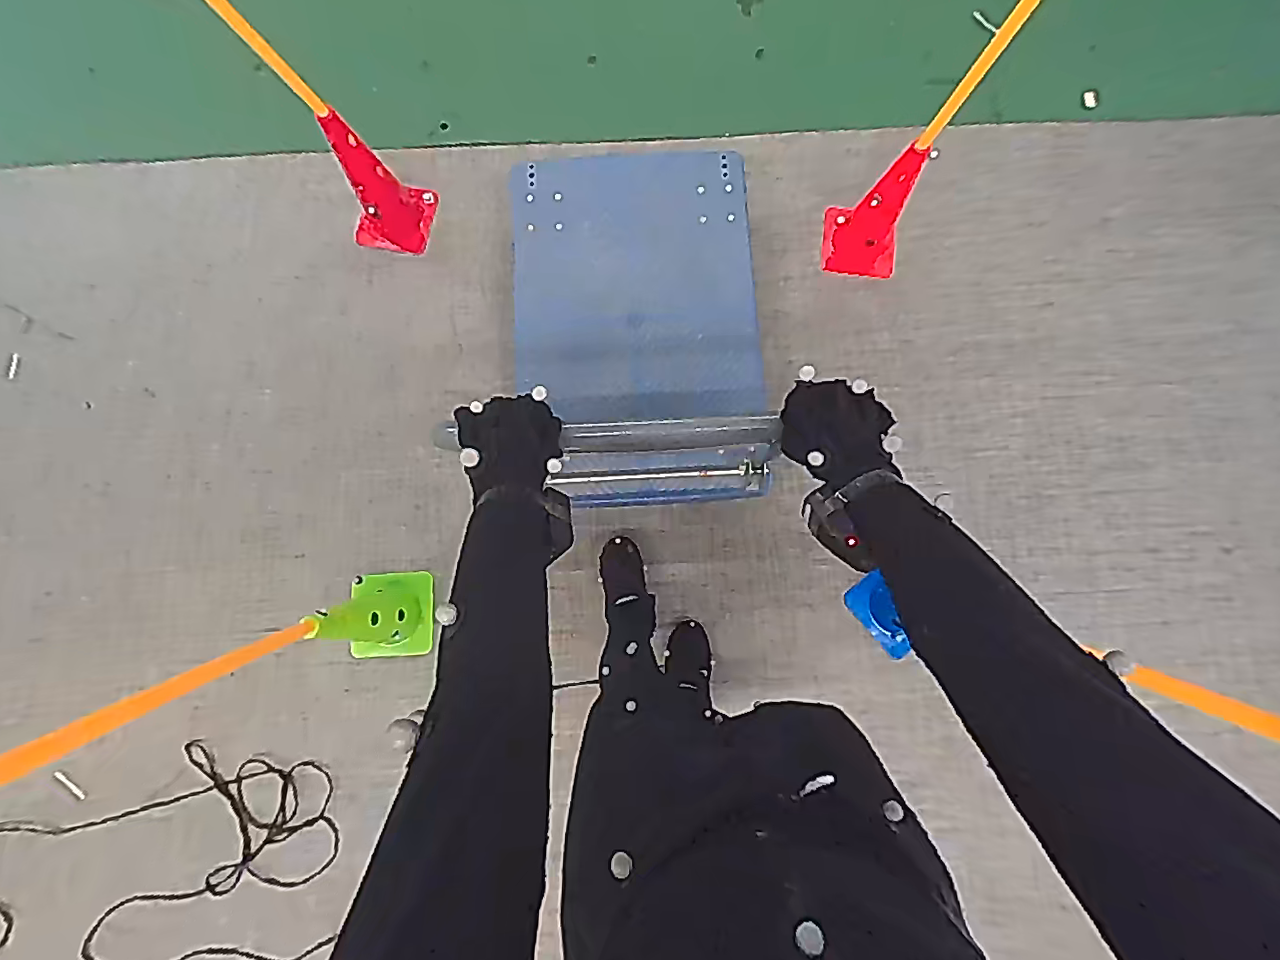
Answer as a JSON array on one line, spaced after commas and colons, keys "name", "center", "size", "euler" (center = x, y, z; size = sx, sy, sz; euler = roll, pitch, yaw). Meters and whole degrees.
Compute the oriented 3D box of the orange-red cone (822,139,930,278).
[{"name": "orange-red cone", "center": [0.610, -0.687, 1.335], "size": [0.198, 0.360, 0.199], "euler": [9, 81, 2]}]
